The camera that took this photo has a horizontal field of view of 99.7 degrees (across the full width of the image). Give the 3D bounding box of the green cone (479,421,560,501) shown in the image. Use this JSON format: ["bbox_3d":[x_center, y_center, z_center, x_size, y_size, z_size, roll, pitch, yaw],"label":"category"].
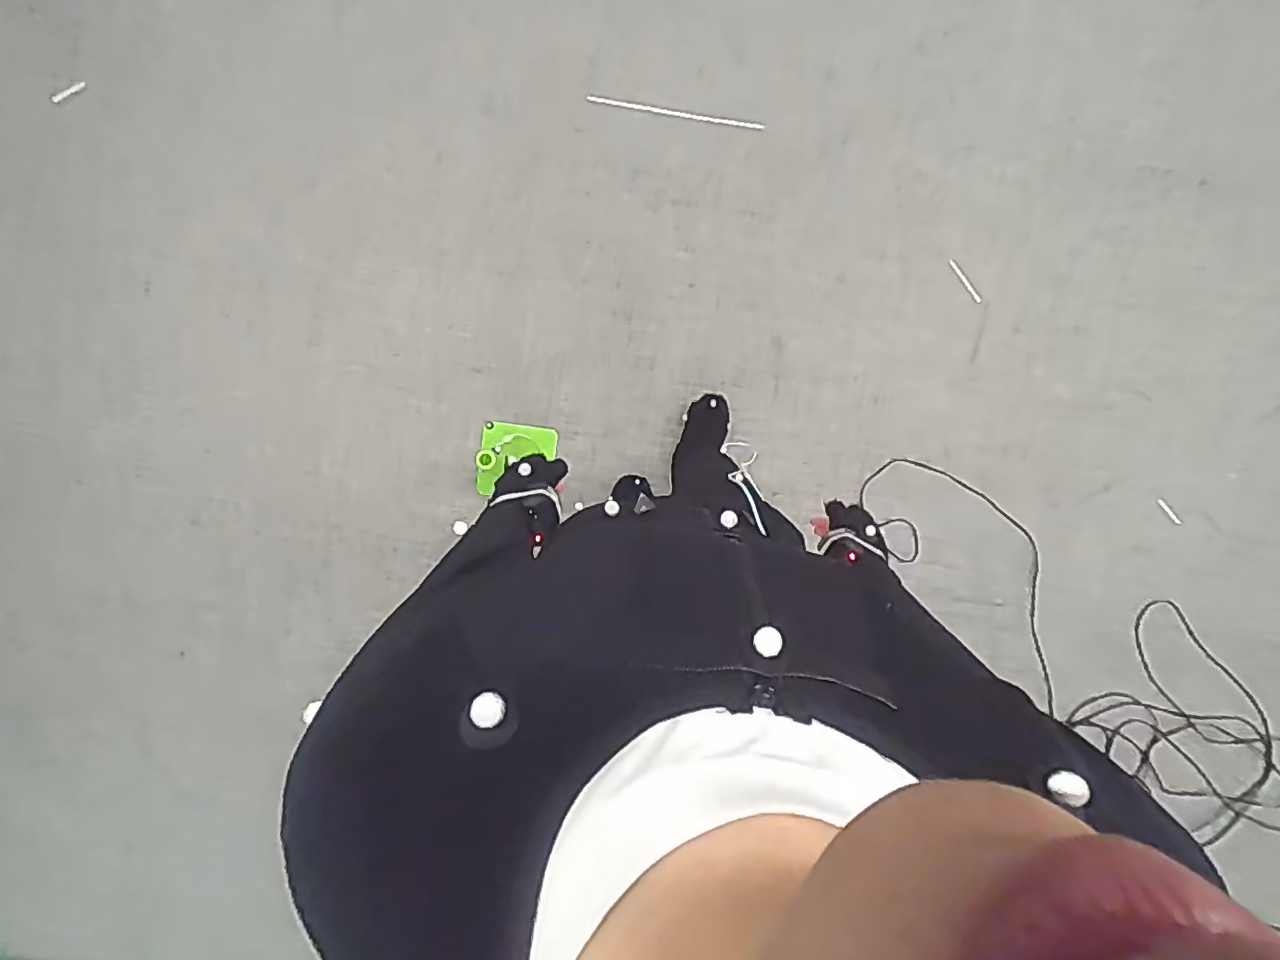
[{"bbox_3d":[-0.314,-0.043,1.280,0.202,0.368,0.200,7,92,-3],"label":"green cone"}]
